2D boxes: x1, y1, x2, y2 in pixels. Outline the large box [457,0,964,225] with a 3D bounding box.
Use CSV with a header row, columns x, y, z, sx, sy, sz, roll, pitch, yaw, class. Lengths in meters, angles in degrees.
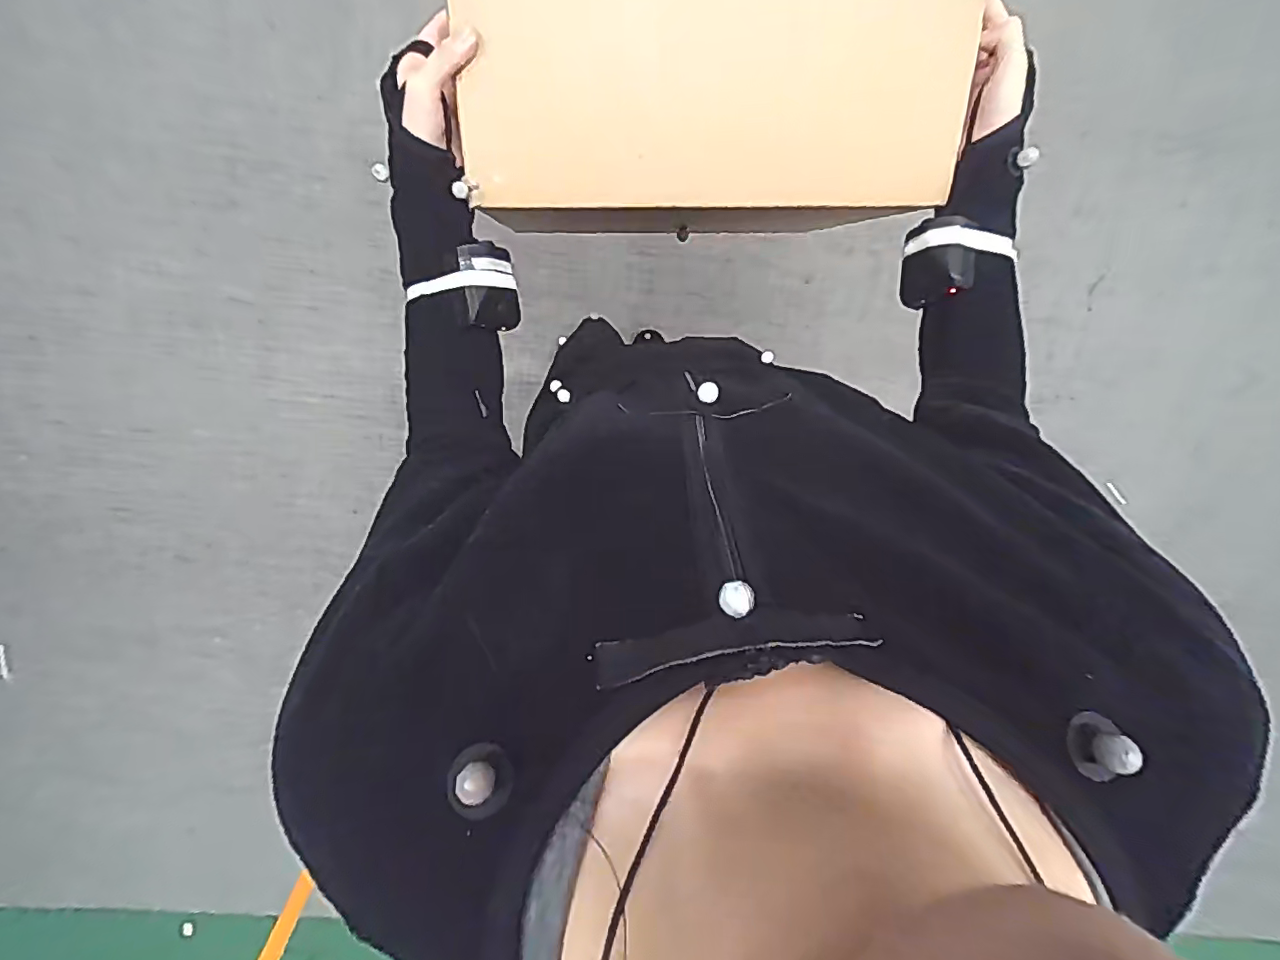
x,y,z,sx,sy,sz,roll,pitch,yaw,class
0.049,-0.438,0.545,0.408,0.320,0.320,-3,111,-5,large box
